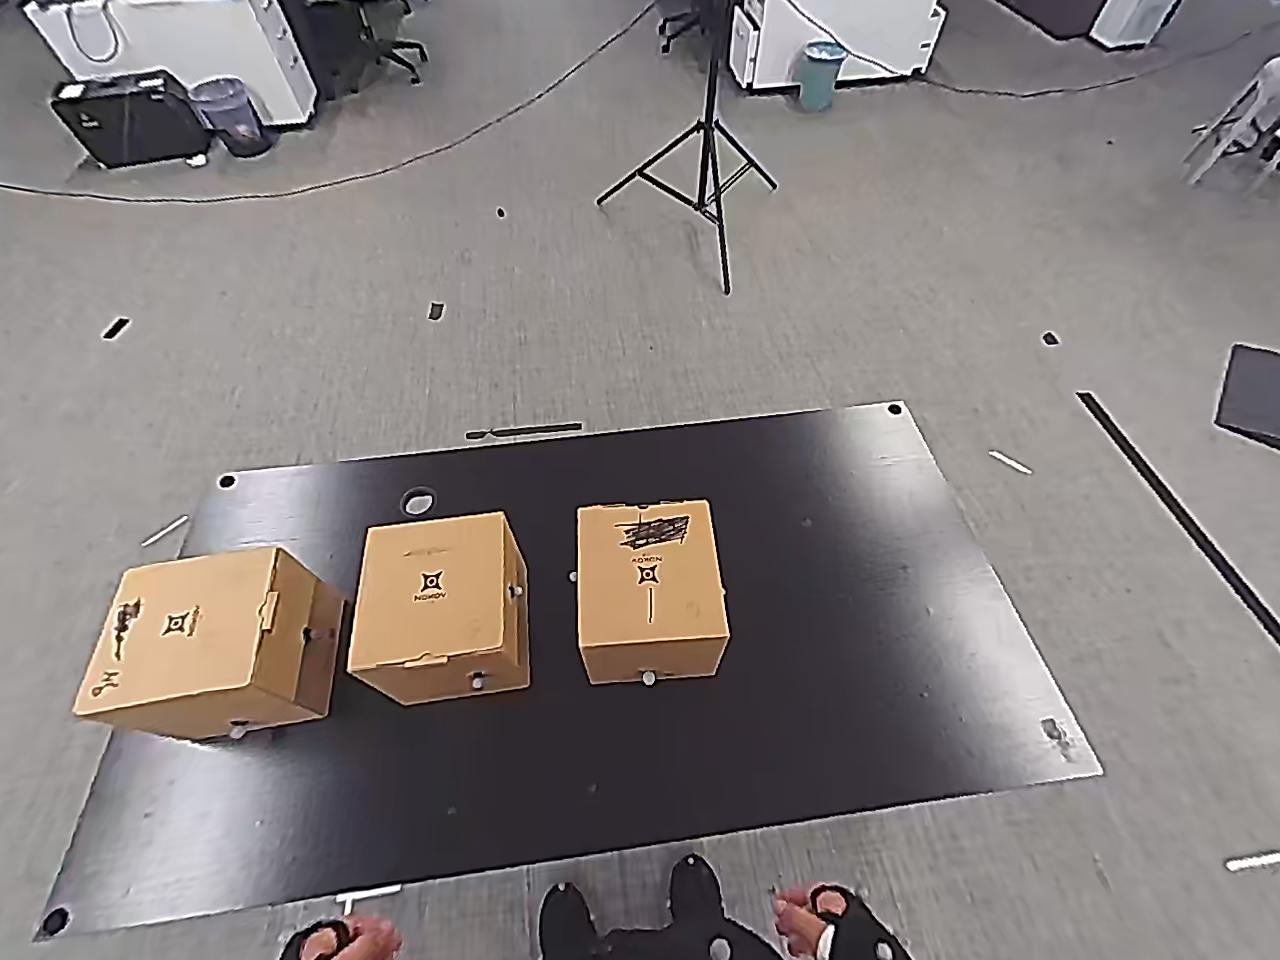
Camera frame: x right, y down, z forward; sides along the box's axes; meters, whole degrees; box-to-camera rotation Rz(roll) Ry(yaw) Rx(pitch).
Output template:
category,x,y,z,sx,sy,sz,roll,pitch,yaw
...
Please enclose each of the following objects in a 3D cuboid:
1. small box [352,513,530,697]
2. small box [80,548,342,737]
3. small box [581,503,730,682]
category,x,y,z,sx,sy,sz,roll,pitch,yaw
small box,-0.236,0.166,0.688,0.168,0.176,0.179,-7,55,-5
small box,-0.495,0.203,0.663,0.179,0.176,0.168,-8,56,-6
small box,0.012,0.147,0.697,0.168,0.176,0.179,-3,57,-2
